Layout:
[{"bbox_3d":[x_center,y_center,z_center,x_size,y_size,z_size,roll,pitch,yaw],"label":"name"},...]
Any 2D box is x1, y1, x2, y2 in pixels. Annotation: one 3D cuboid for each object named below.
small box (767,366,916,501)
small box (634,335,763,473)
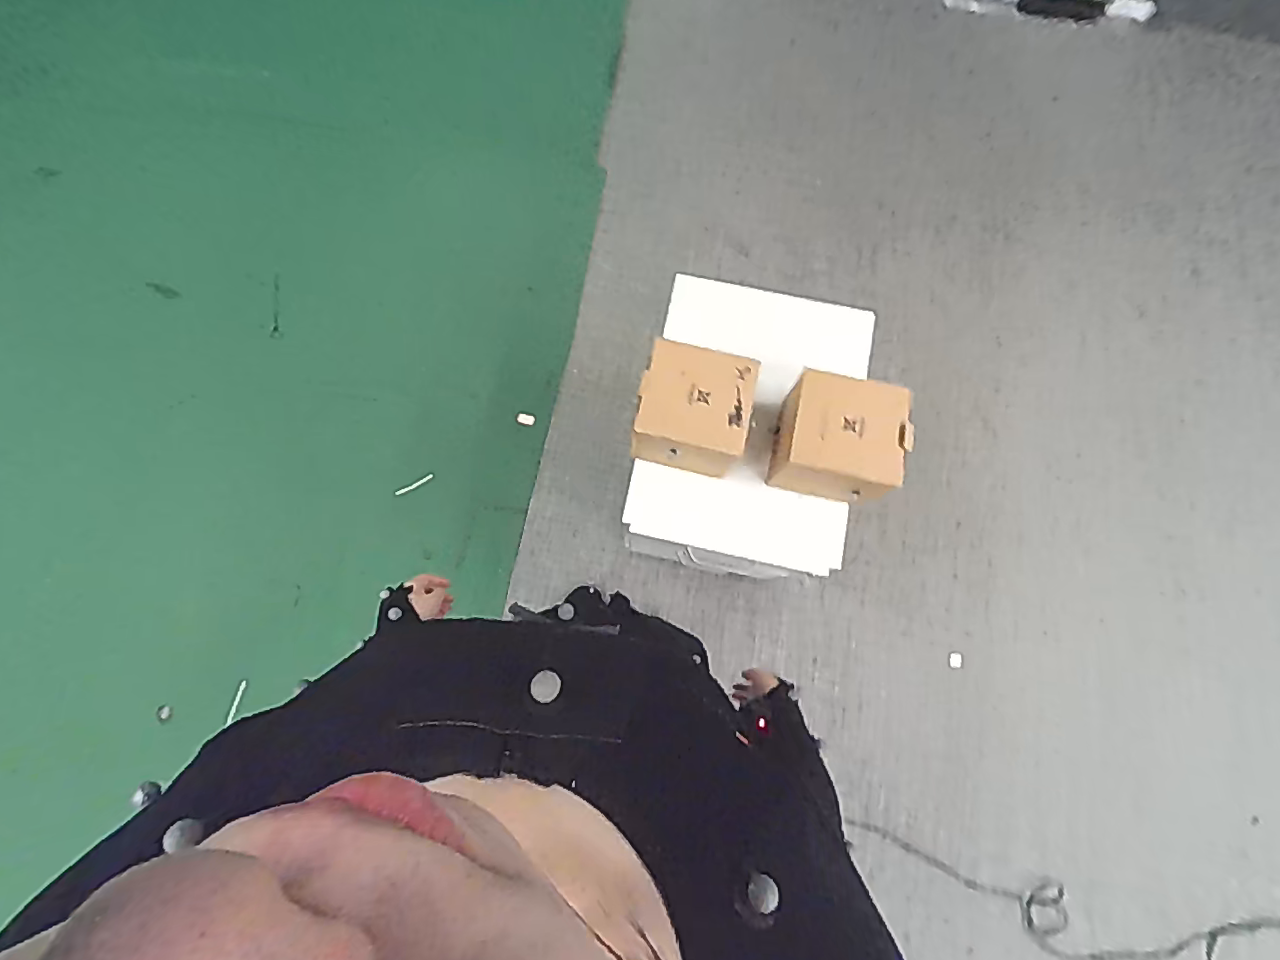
[{"bbox_3d":[0.332,-0.069,0.914,0.179,0.176,0.168,13,78,4],"label":"small box"},{"bbox_3d":[0.091,-0.119,0.918,0.179,0.176,0.168,14,79,1],"label":"small box"}]
